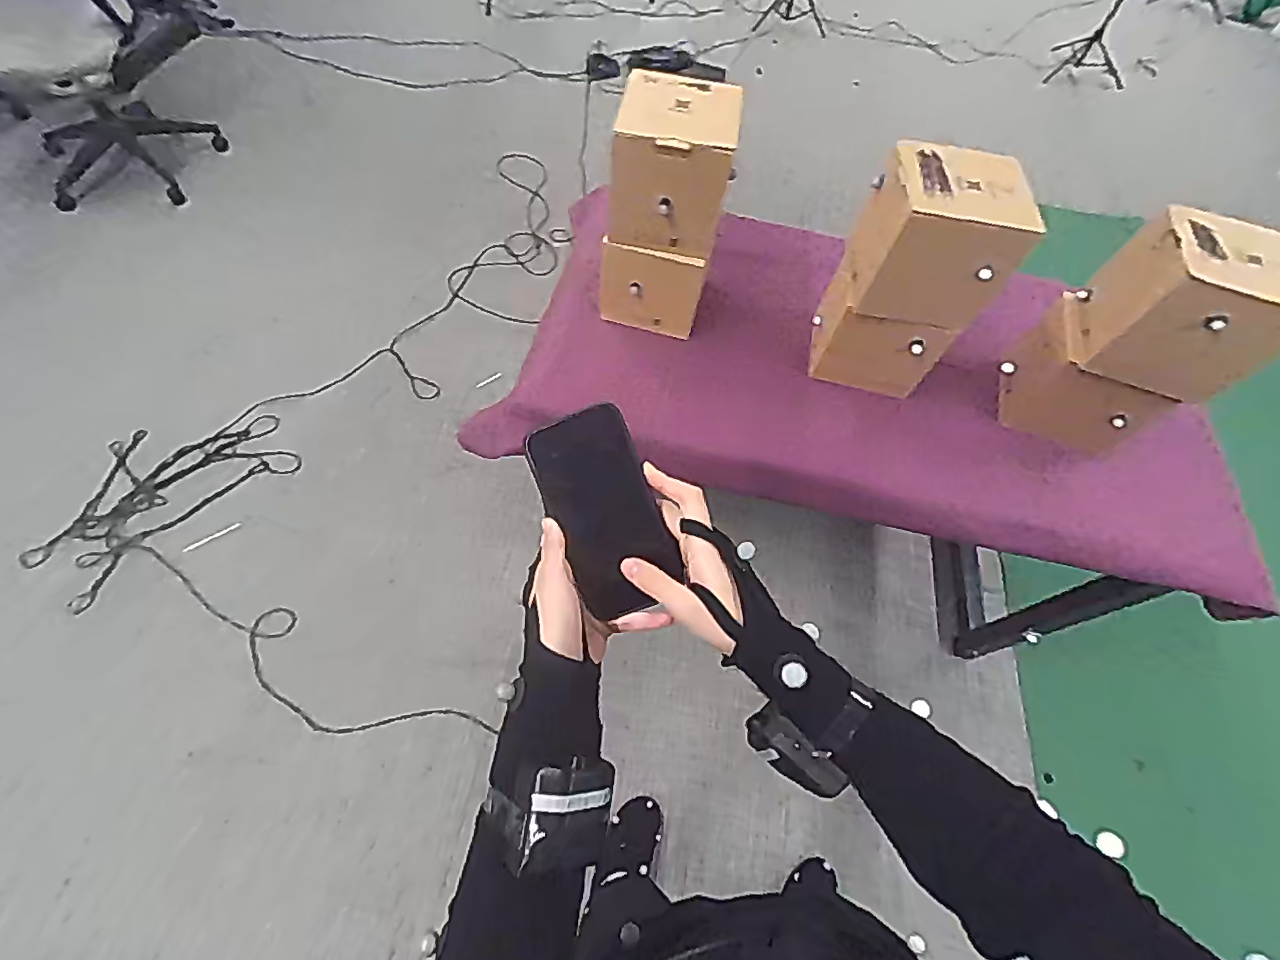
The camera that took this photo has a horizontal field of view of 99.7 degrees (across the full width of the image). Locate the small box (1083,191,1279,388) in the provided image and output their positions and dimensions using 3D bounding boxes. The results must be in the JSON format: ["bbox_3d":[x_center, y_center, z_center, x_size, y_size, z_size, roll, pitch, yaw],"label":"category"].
[{"bbox_3d":[0.750,-0.253,0.739,0.179,0.176,0.168,19,61,5],"label":"small box"}]

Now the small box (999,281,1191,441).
[{"bbox_3d":[0.734,-0.188,0.889,0.179,0.176,0.168,19,61,7],"label":"small box"}]

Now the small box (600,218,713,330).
[{"bbox_3d":[0.034,-0.391,0.946,0.168,0.176,0.179,14,60,4],"label":"small box"}]

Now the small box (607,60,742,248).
[{"bbox_3d":[0.047,-0.479,0.807,0.168,0.176,0.179,10,61,0],"label":"small box"}]

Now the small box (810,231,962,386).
[{"bbox_3d":[0.407,-0.281,0.913,0.179,0.176,0.168,14,60,3],"label":"small box"}]
